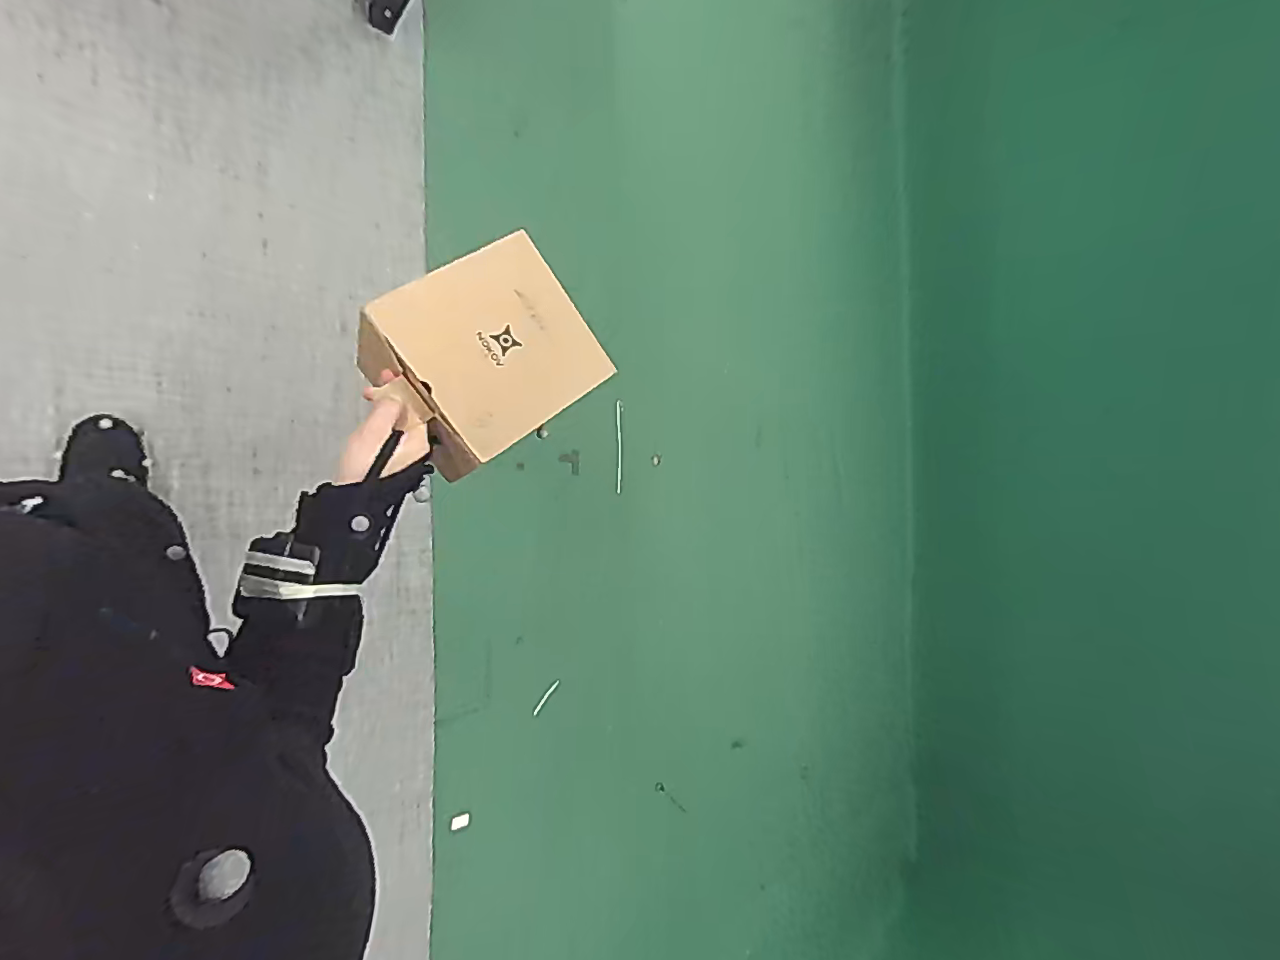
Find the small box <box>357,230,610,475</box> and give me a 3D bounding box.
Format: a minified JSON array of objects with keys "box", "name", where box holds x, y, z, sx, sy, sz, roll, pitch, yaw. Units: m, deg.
[{"box":[-0.169,-0.120,0.571,0.179,0.176,0.168,-40,105,-27],"name":"small box"}]
